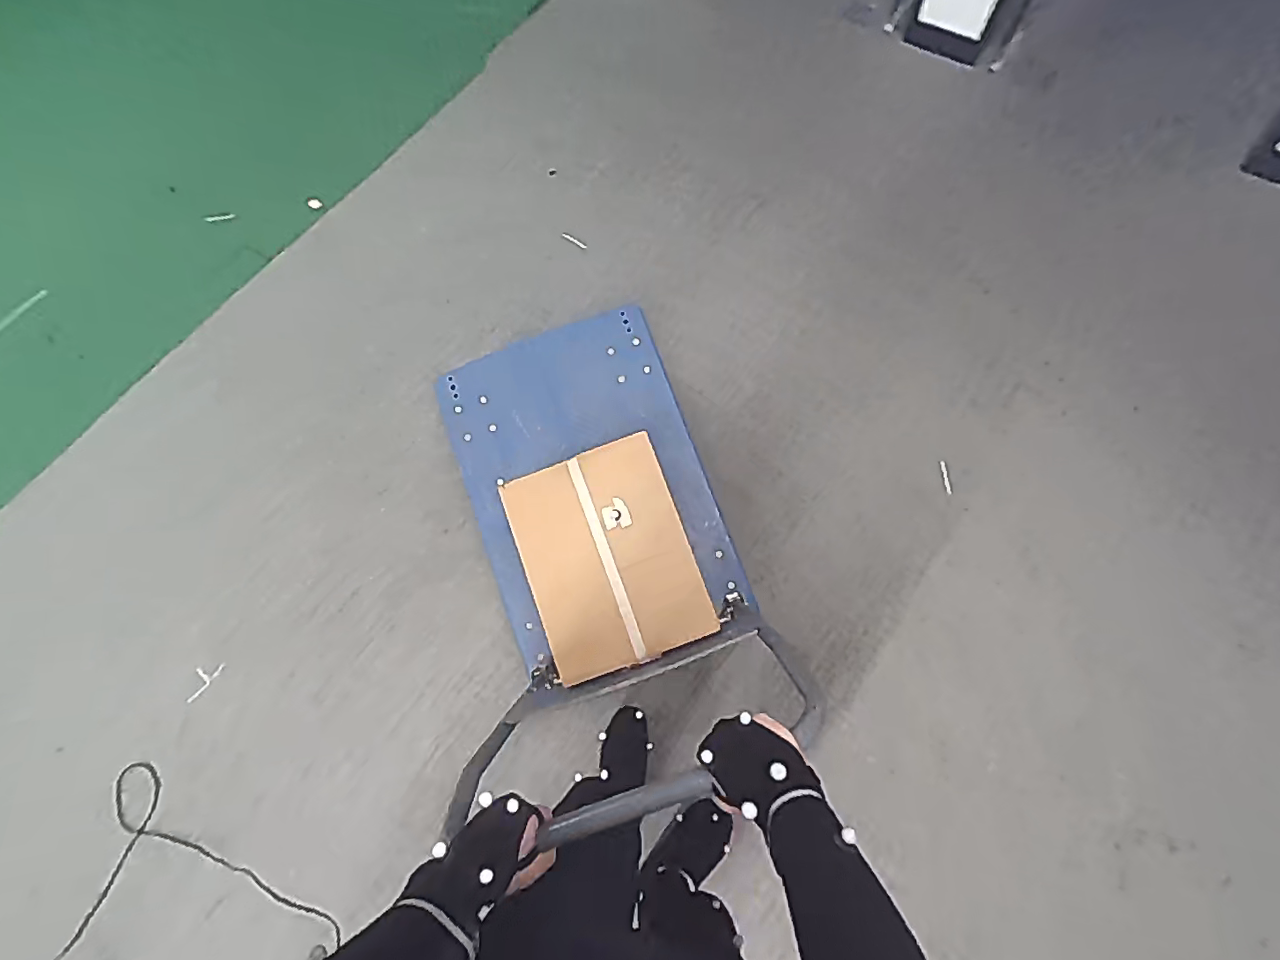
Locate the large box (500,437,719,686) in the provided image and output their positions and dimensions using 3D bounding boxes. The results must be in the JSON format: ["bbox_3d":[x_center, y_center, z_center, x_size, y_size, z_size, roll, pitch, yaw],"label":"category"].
[{"bbox_3d":[-0.054,0.172,1.175,0.320,0.320,0.408,-21,80,0],"label":"large box"}]
